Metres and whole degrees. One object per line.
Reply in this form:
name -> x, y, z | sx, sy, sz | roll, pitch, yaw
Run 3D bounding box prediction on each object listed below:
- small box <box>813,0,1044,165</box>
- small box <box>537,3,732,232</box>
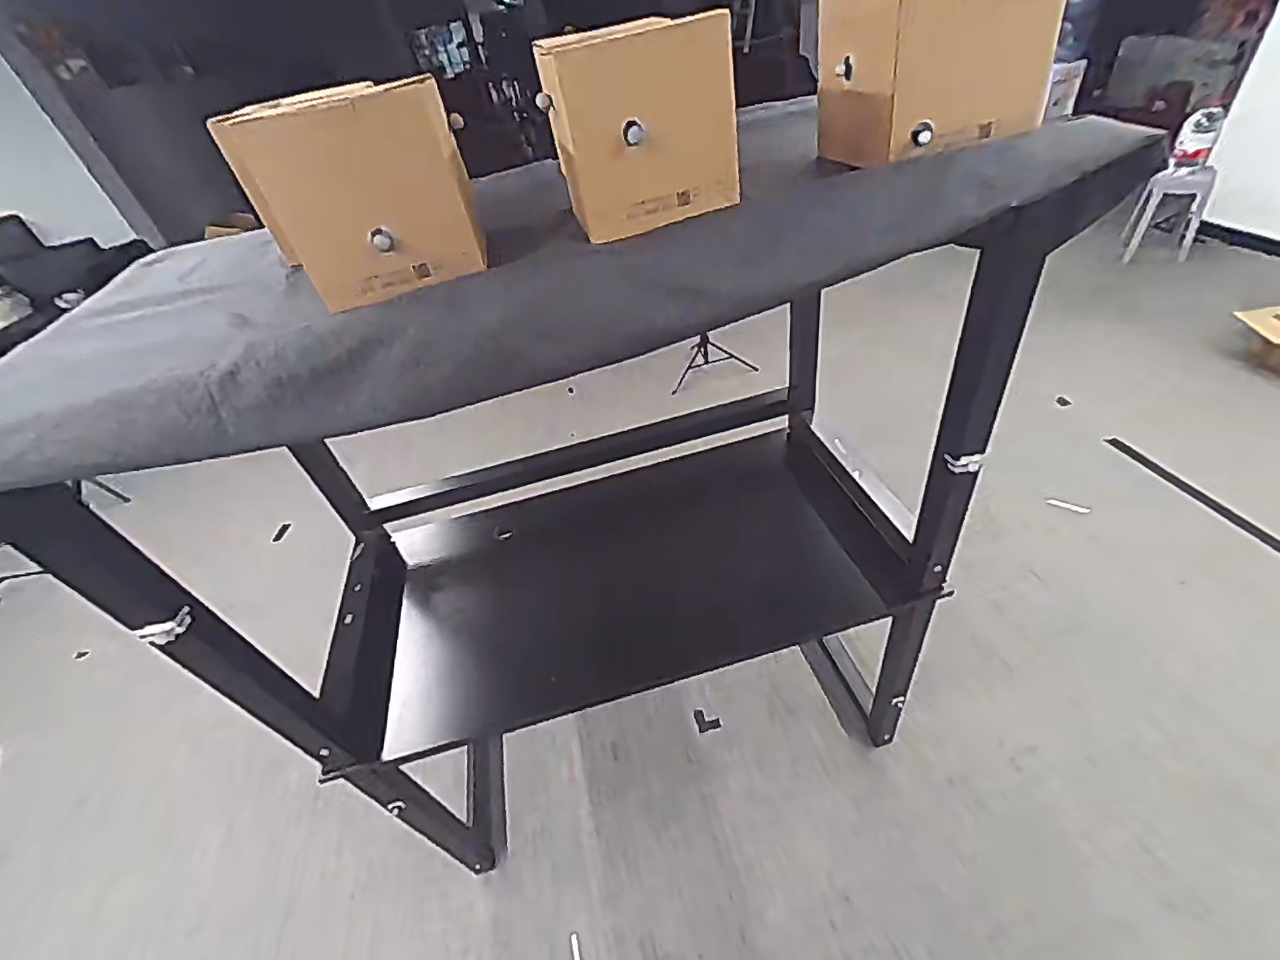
small box -> 0.303, -0.459, 0.589 | 0.168, 0.176, 0.179 | -14, 37, -1
small box -> -0.006, -0.387, 0.592 | 0.168, 0.176, 0.179 | -16, 38, -4
